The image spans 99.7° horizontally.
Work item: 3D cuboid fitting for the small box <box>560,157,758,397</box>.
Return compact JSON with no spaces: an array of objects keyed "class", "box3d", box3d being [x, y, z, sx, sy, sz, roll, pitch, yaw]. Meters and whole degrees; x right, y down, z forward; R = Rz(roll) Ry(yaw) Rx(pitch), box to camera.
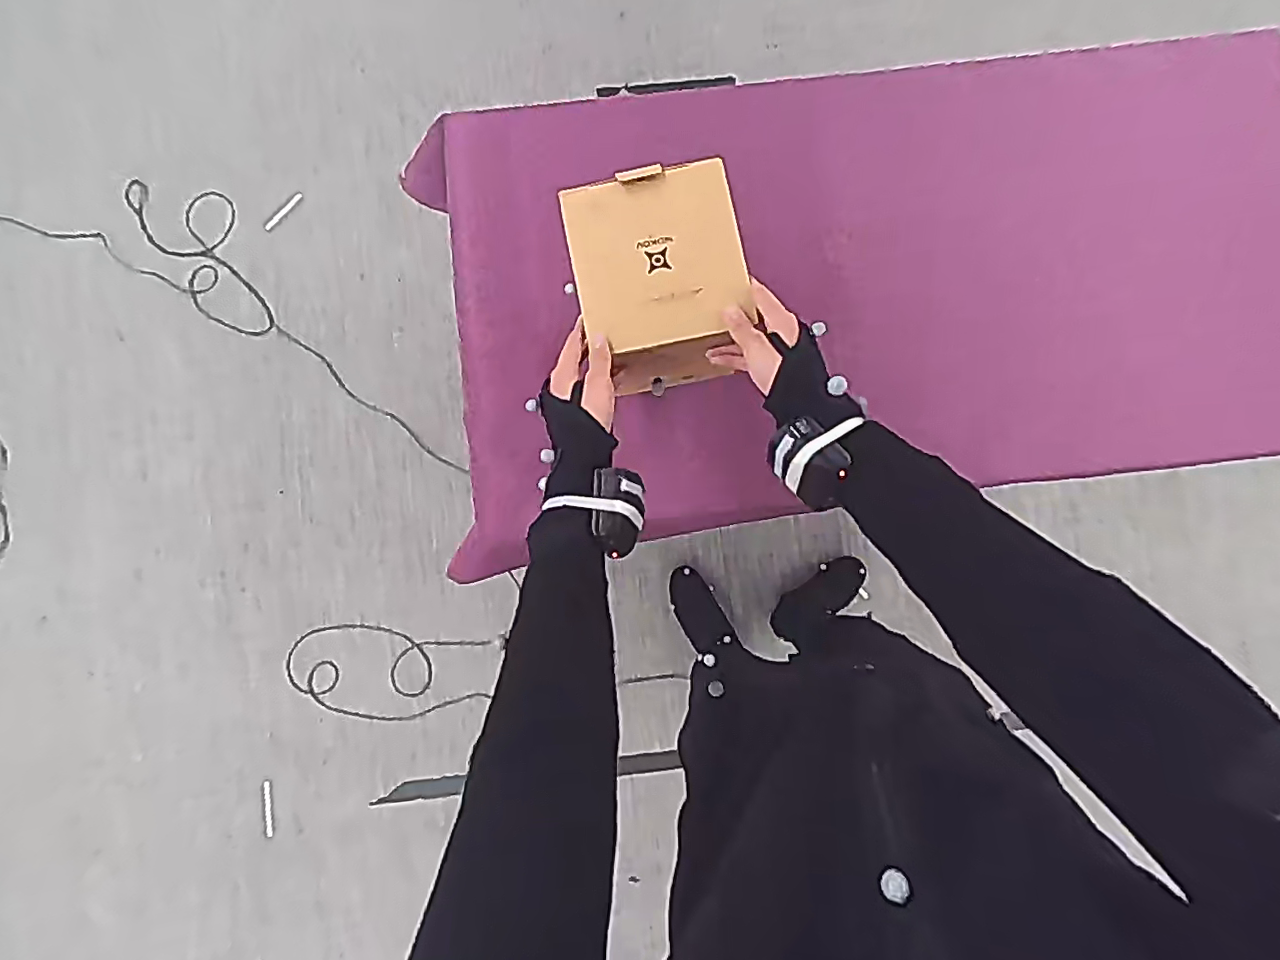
[{"class":"small box","box3d":[0.017,-0.206,0.591,0.168,0.176,0.179,-11,85,1]}]
